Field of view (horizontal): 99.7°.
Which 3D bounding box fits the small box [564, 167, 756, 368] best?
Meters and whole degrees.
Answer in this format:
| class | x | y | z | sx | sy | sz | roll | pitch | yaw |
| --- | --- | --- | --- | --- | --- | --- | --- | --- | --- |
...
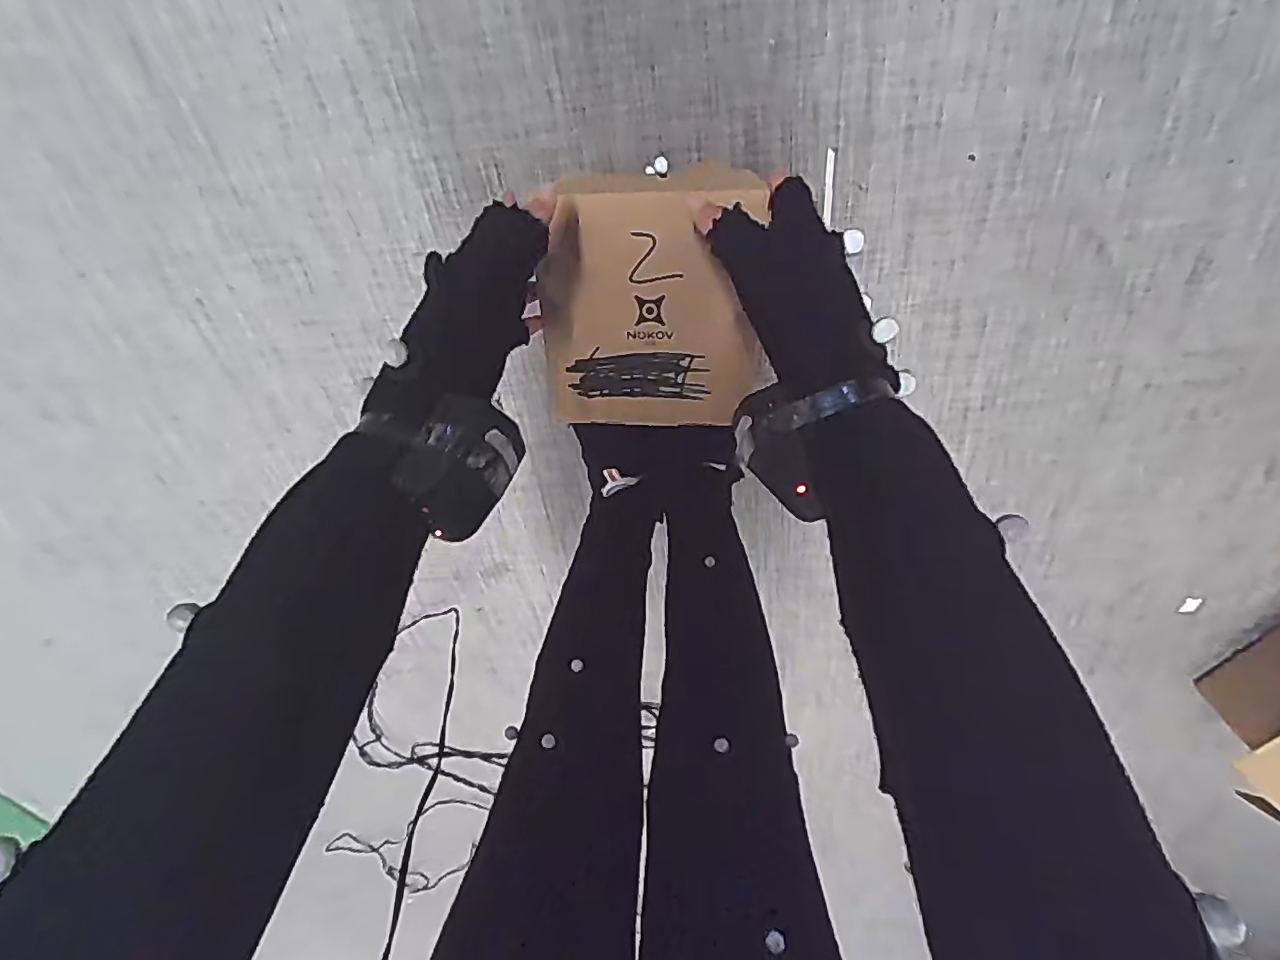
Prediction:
| class | x | y | z | sx | sy | sz | roll | pitch | yaw |
| --- | --- | --- | --- | --- | --- | --- | --- | --- | --- |
| small box | 0.030 | -0.246 | 0.617 | 0.179 | 0.176 | 0.168 | -7 | 122 | 10 |
